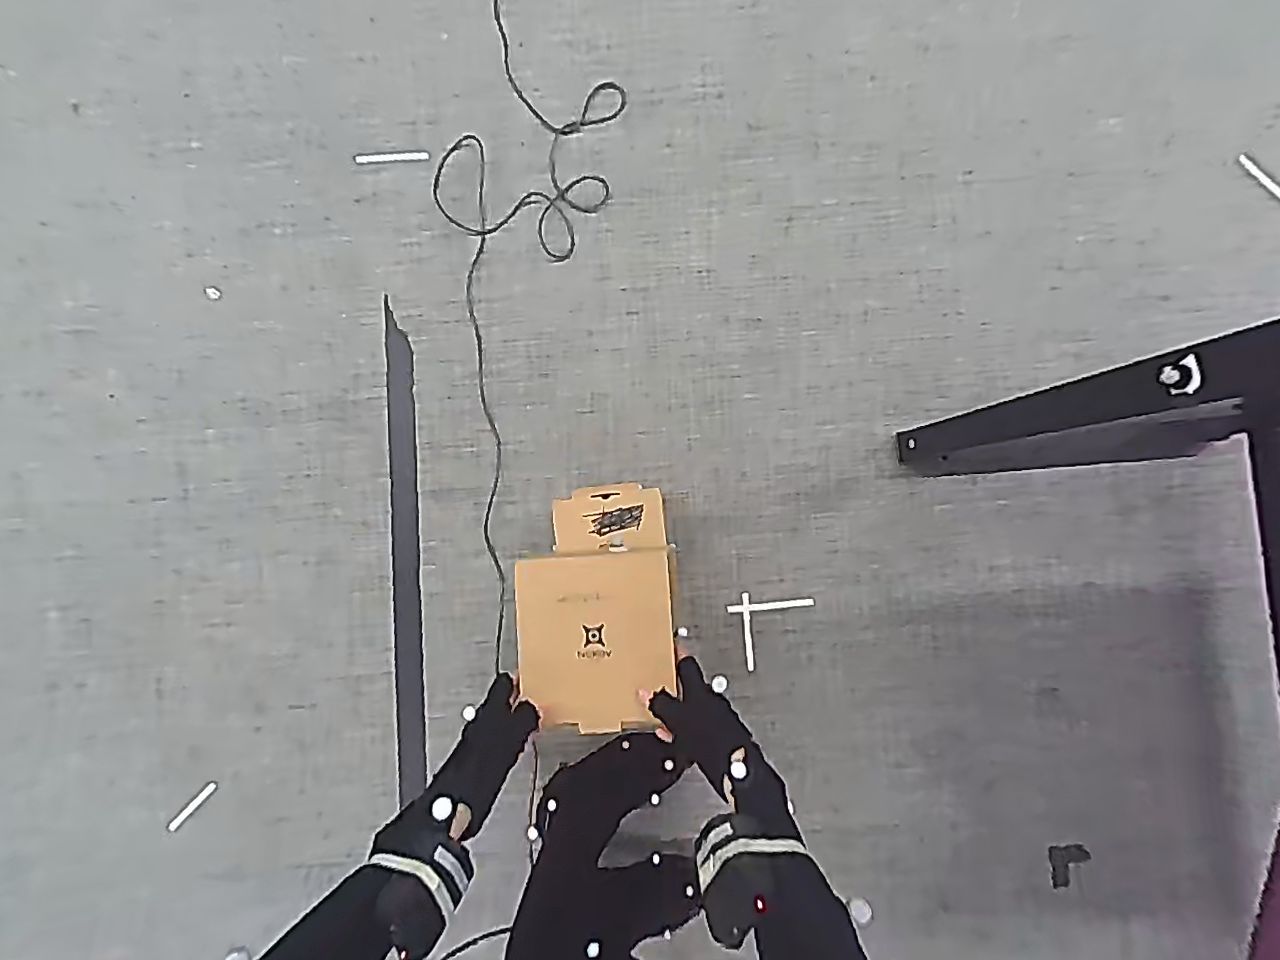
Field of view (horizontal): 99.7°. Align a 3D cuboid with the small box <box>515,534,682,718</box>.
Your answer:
[{"bbox_3d":[-0.038,0.159,0.636,0.168,0.176,0.179,-5,85,4],"label":"small box"}]

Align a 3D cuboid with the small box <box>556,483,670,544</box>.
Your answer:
[{"bbox_3d":[-0.038,0.104,0.878,0.168,0.176,0.179,-7,87,0],"label":"small box"}]
